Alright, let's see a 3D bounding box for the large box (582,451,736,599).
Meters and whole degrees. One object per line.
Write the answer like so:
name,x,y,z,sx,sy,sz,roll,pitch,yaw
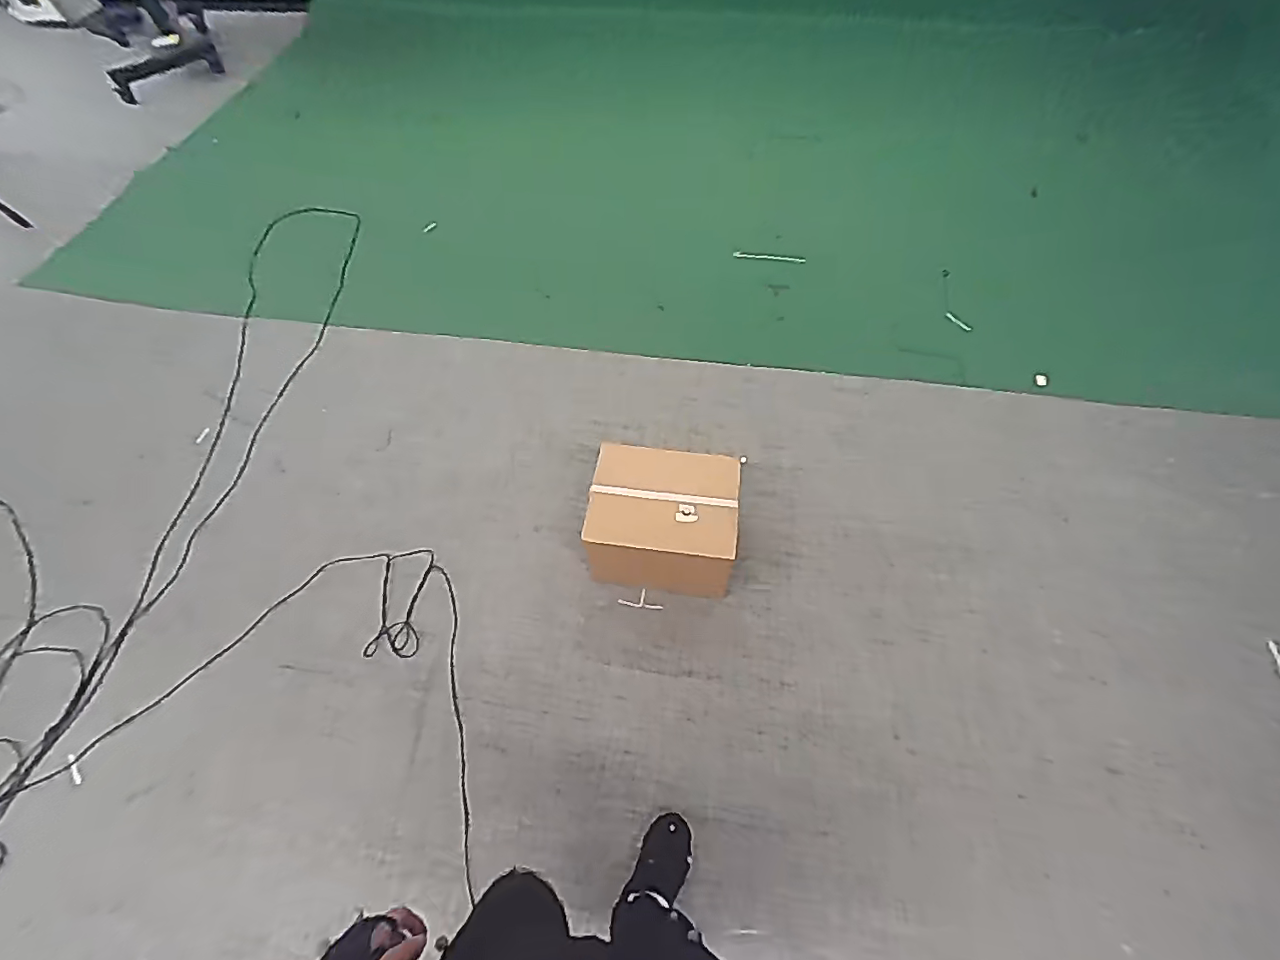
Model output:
large box,0.062,0.140,1.607,0.408,0.320,0.320,6,59,5
